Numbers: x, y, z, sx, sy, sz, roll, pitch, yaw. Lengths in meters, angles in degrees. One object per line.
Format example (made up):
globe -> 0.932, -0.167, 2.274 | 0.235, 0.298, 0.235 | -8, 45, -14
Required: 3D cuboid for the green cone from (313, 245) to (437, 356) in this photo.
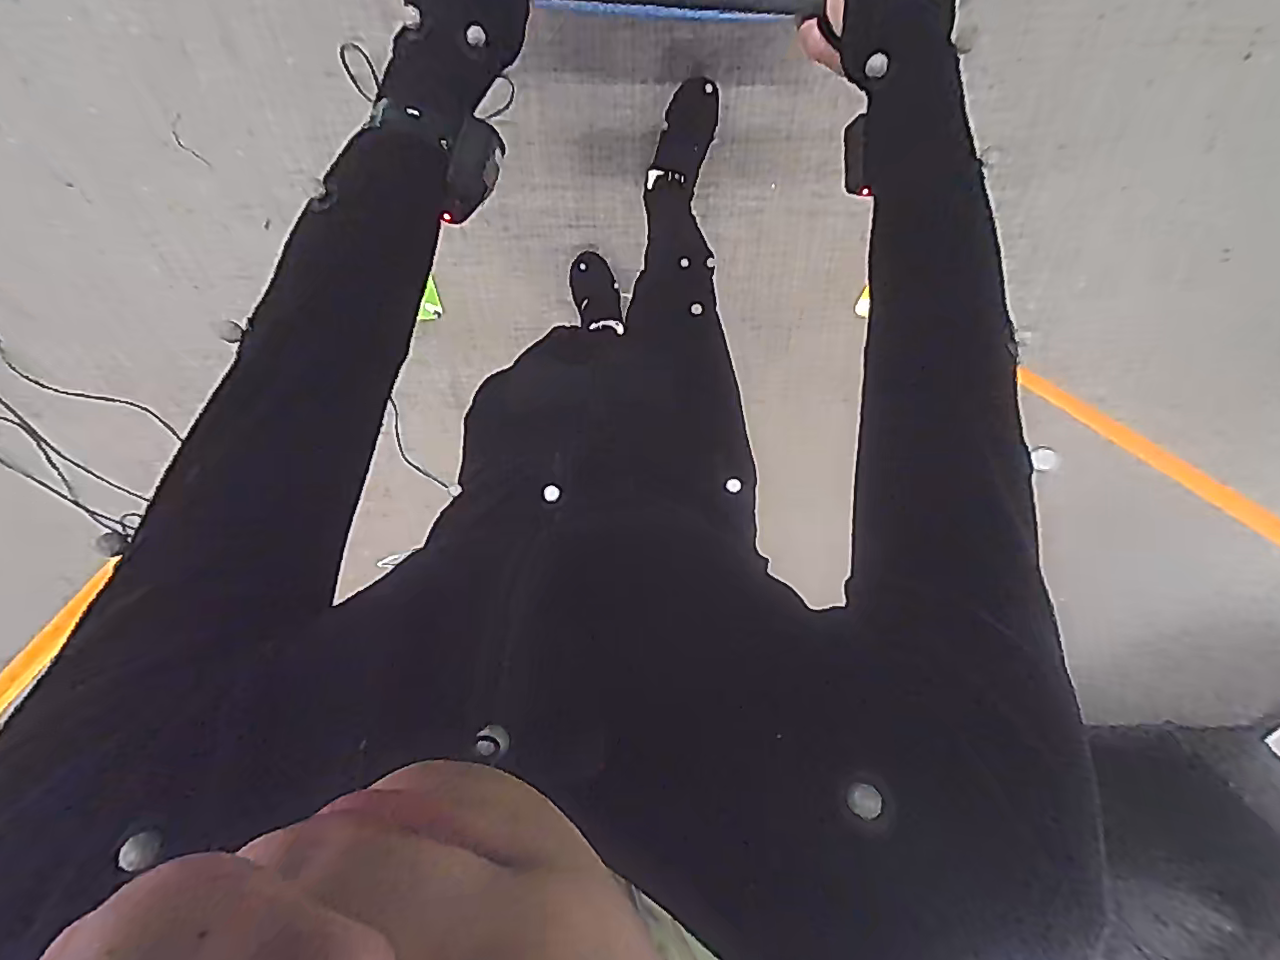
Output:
green cone -> -0.645, -0.388, 1.251 | 0.202, 0.368, 0.200 | -3, 128, 4
